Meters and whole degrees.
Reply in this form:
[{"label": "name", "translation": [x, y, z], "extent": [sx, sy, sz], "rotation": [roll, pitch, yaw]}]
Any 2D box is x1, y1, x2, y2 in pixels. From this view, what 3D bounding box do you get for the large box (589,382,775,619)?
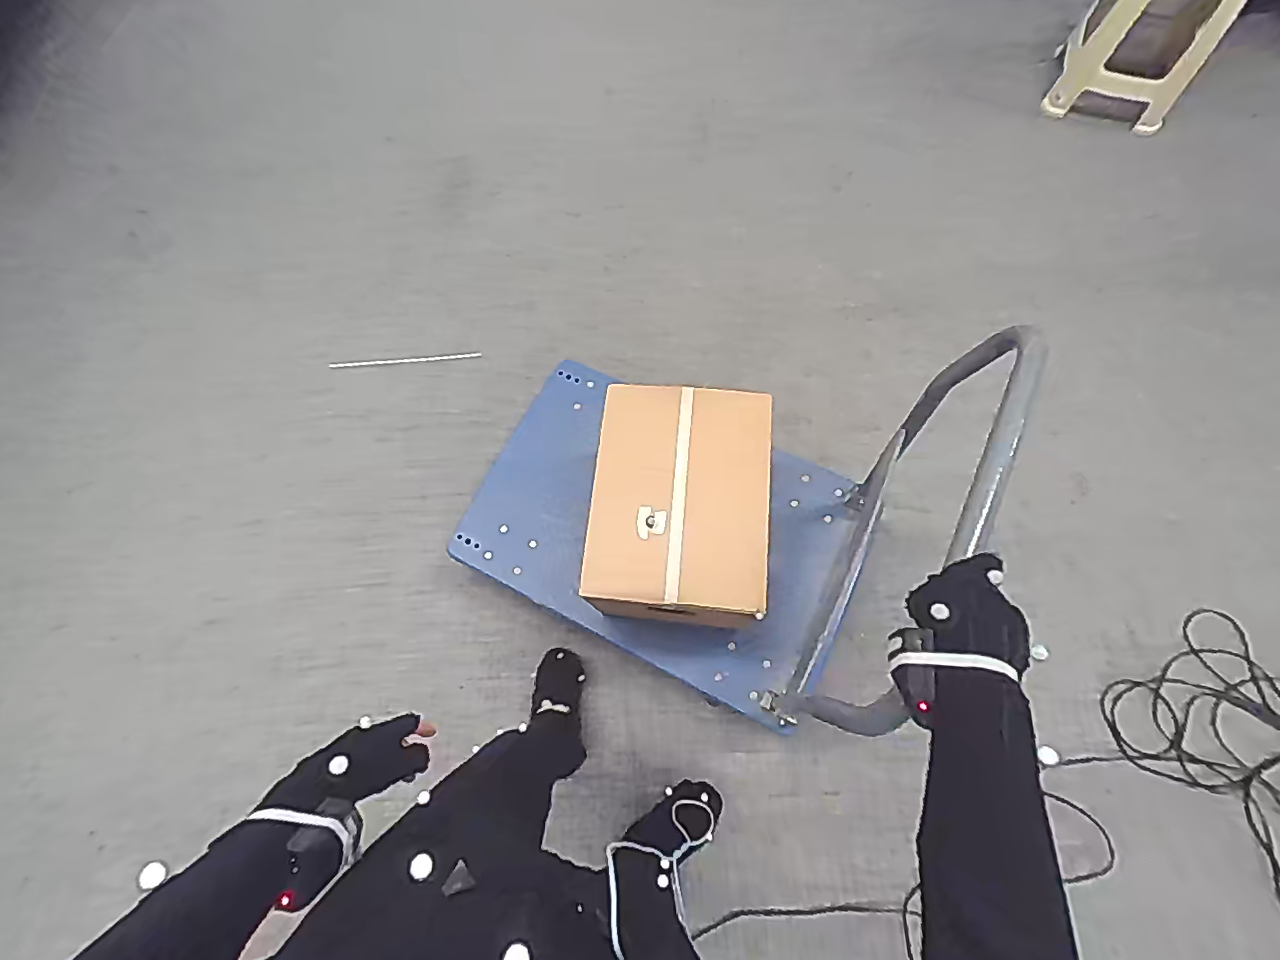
[{"label": "large box", "translation": [0.088, 0.055, 1.101], "extent": [0.320, 0.320, 0.408], "rotation": [5, 72, 5]}]
